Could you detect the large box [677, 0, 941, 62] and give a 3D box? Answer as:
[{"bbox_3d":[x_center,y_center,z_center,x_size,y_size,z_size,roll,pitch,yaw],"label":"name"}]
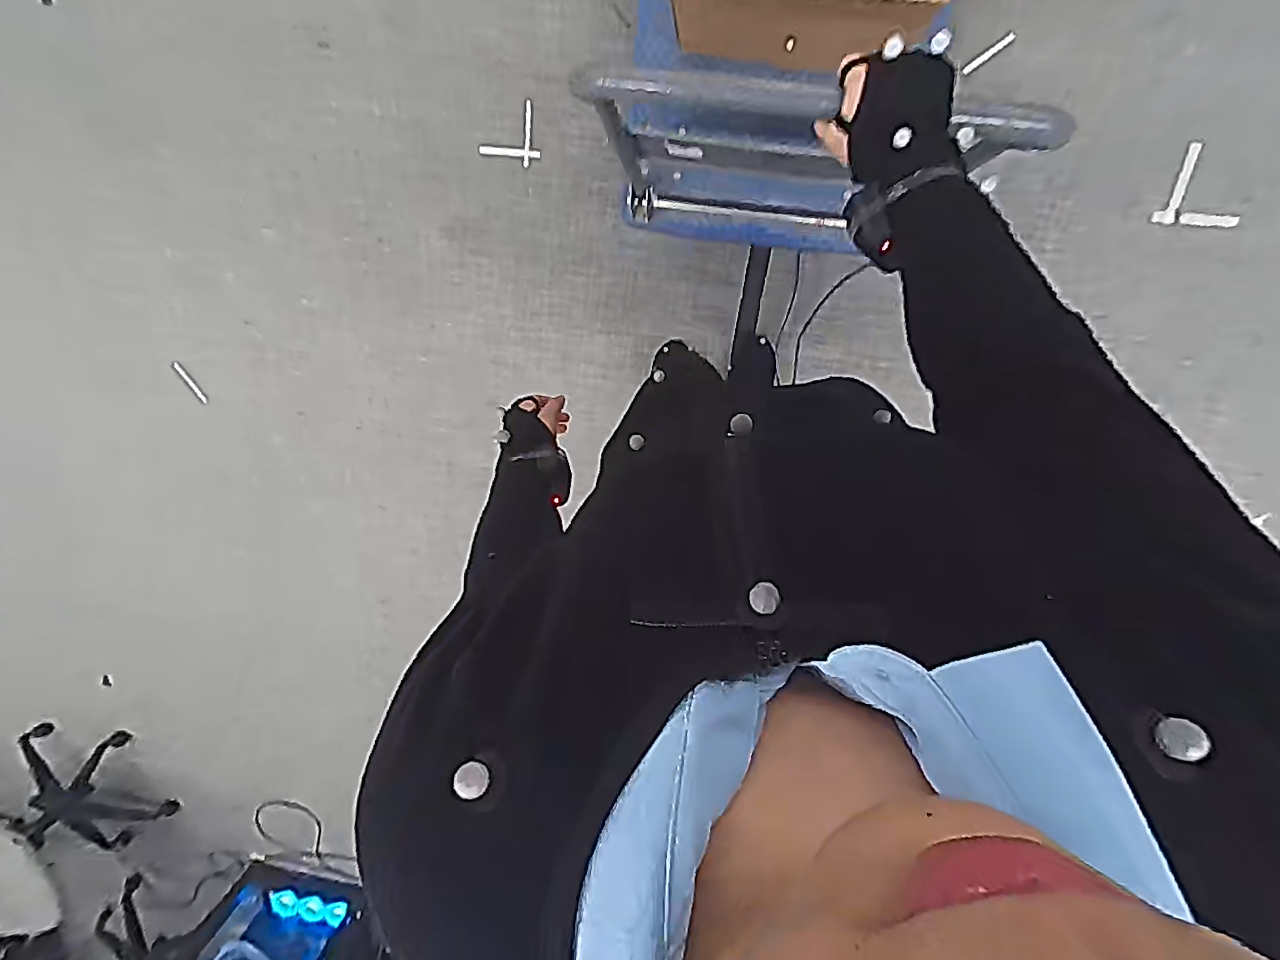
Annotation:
[{"bbox_3d":[0.279,-0.902,0.841,0.408,0.320,0.320,11,109,6],"label":"large box"}]
